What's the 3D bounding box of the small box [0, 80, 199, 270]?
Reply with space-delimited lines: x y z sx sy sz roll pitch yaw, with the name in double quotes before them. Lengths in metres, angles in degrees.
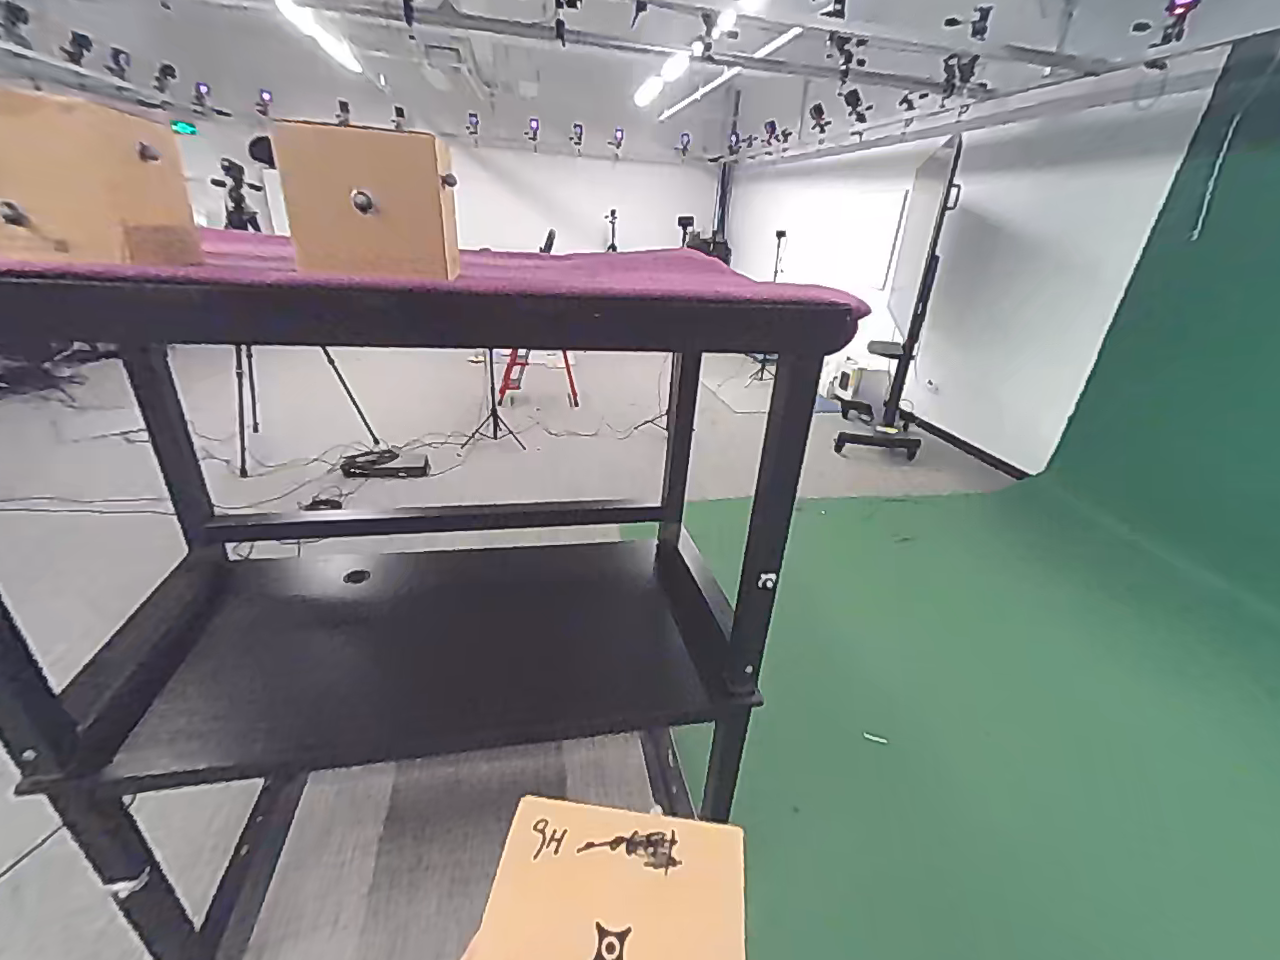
"small box" -0.654 -0.345 0.628 0.168 0.176 0.179 -2 25 -15
